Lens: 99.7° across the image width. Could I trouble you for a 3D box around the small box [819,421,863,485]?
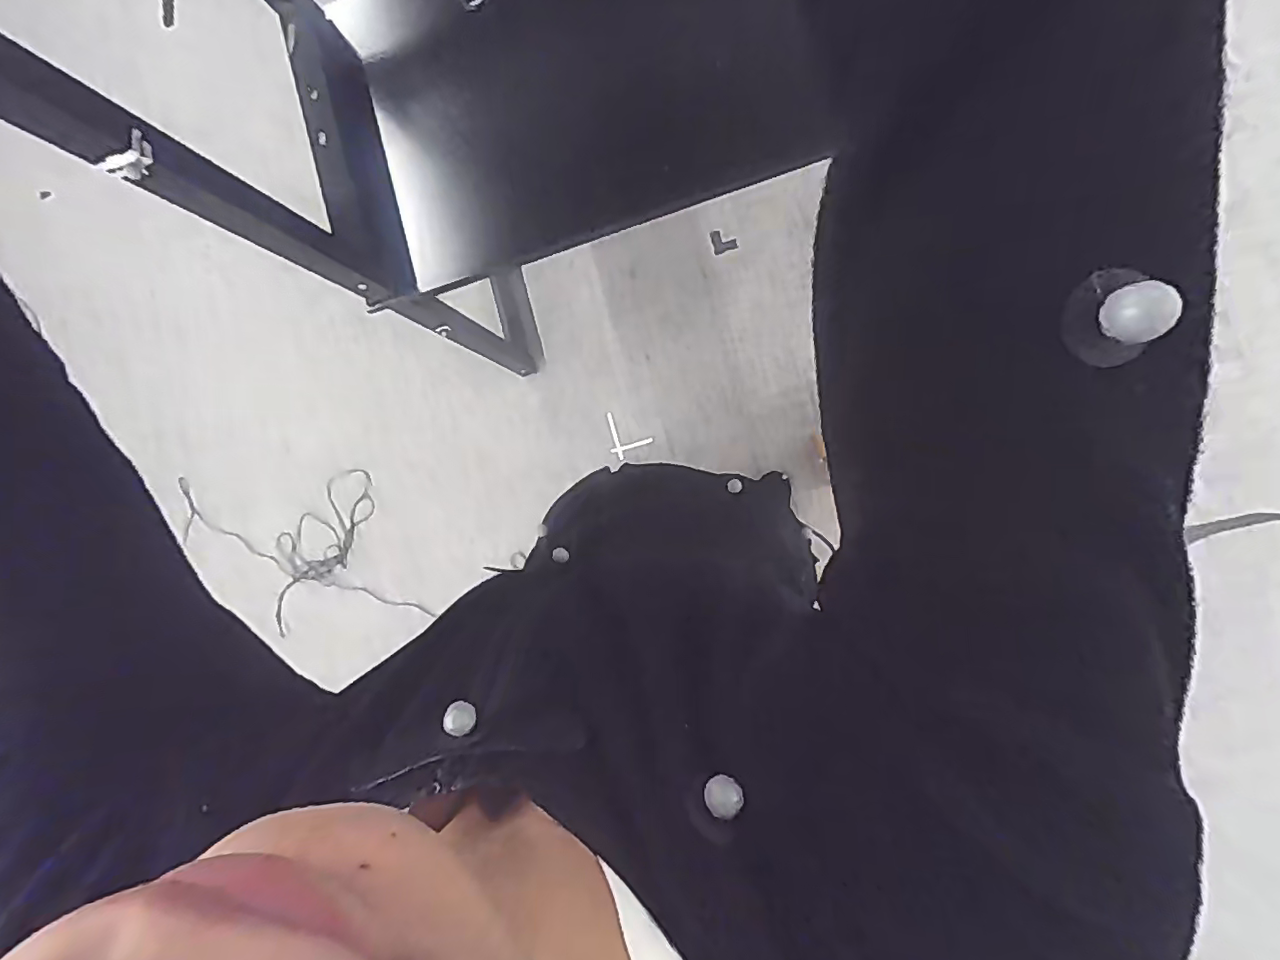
[{"bbox_3d":[0.603,-0.089,1.464,0.179,0.176,0.168,-17,86,11],"label":"small box"}]
